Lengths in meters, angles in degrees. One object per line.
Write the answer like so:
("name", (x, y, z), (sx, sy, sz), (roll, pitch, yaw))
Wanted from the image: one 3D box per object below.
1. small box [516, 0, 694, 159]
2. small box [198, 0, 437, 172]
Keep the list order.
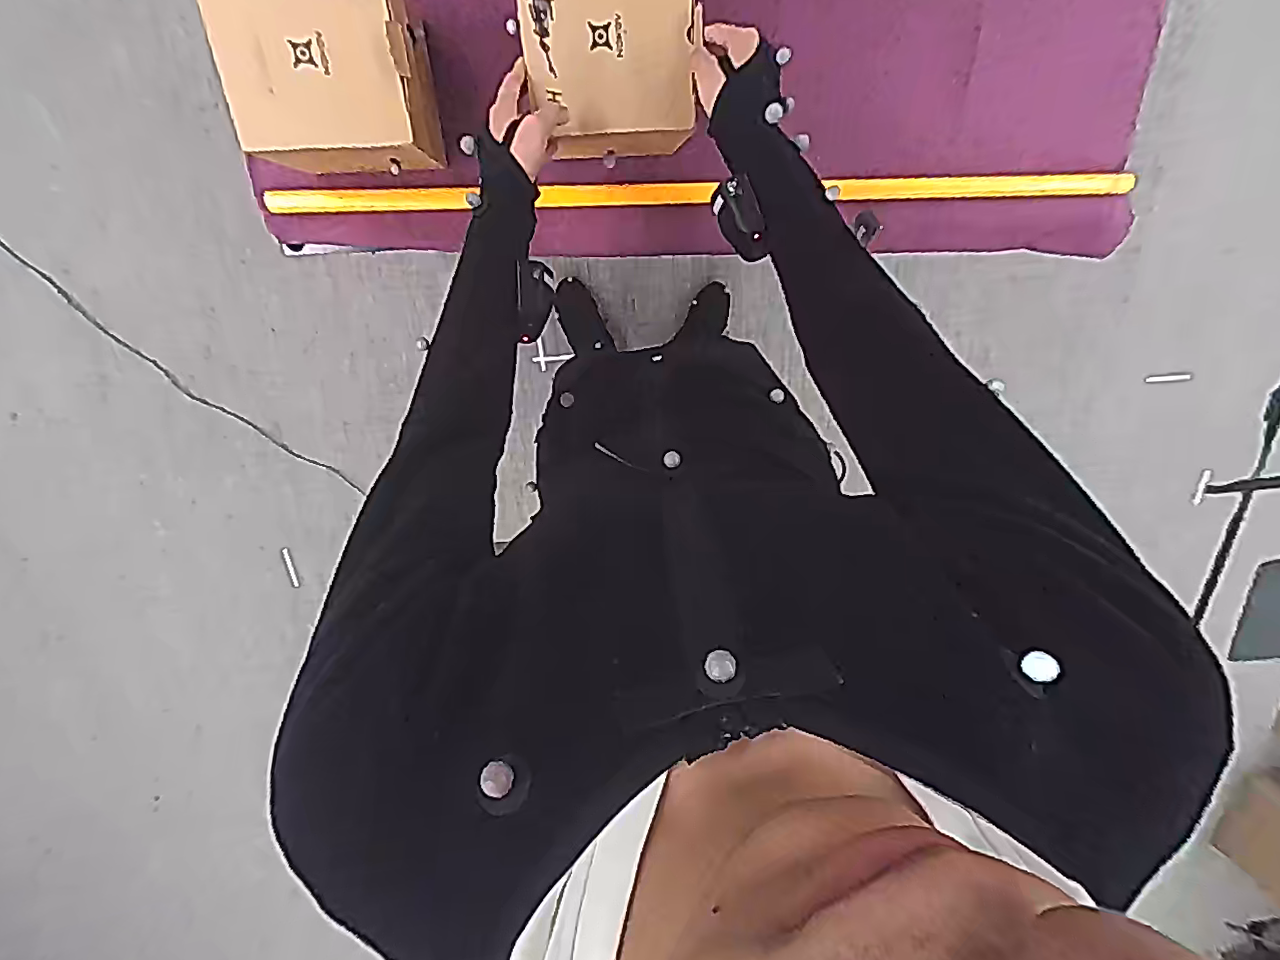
("small box", (-0.042, -0.472, 0.613), (0.179, 0.176, 0.168), (-5, 113, -4))
("small box", (-0.338, -0.451, 0.605), (0.179, 0.176, 0.168), (-6, 113, -6))
